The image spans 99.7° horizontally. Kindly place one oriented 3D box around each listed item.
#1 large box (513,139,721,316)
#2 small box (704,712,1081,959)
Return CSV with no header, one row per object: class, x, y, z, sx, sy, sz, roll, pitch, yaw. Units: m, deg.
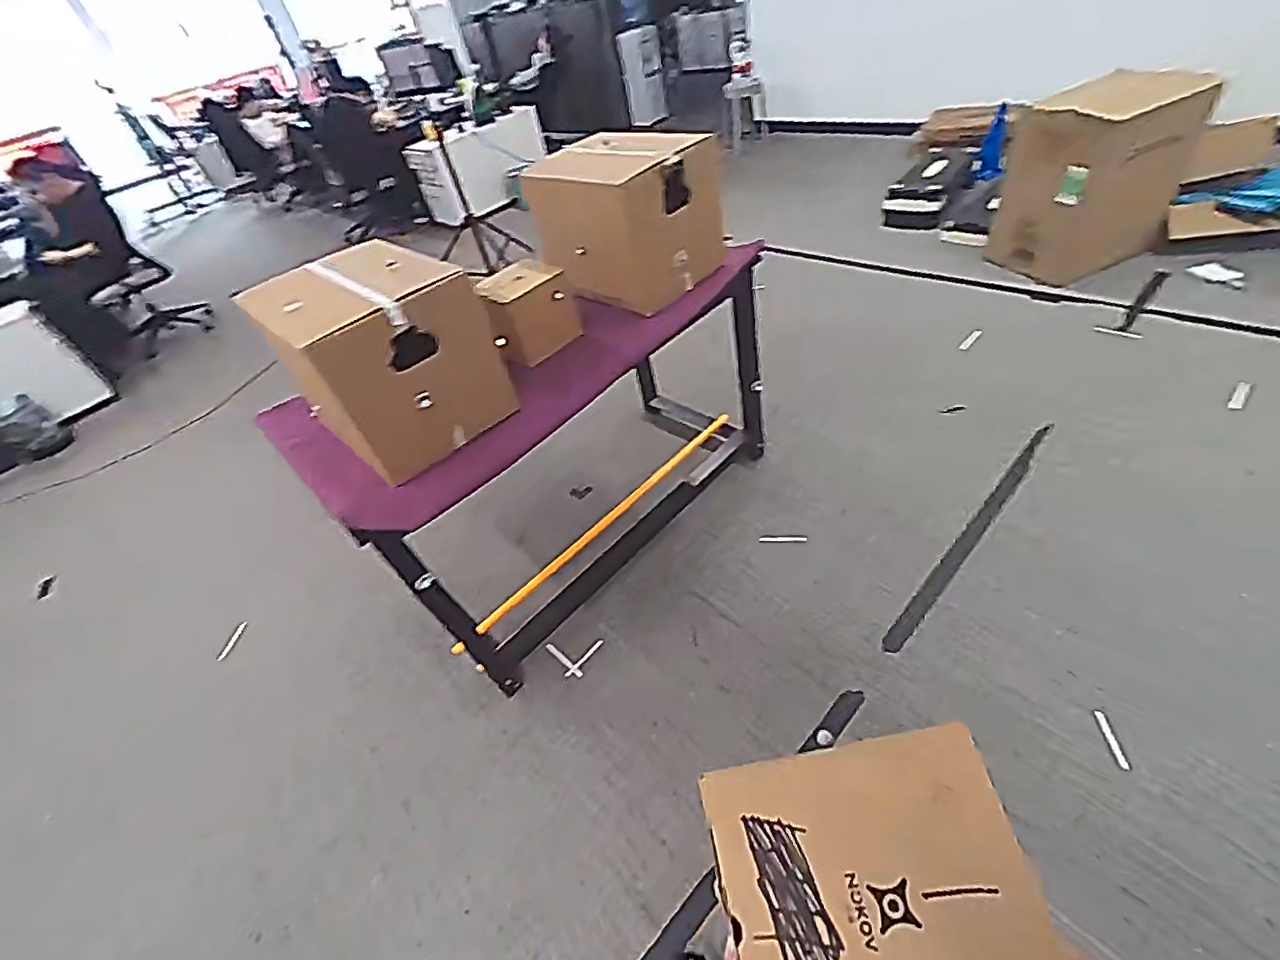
large box,-0.049,-0.664,1.408,0.408,0.320,0.320,28,58,37
small box,0.153,0.272,0.374,0.179,0.176,0.168,-13,59,5
